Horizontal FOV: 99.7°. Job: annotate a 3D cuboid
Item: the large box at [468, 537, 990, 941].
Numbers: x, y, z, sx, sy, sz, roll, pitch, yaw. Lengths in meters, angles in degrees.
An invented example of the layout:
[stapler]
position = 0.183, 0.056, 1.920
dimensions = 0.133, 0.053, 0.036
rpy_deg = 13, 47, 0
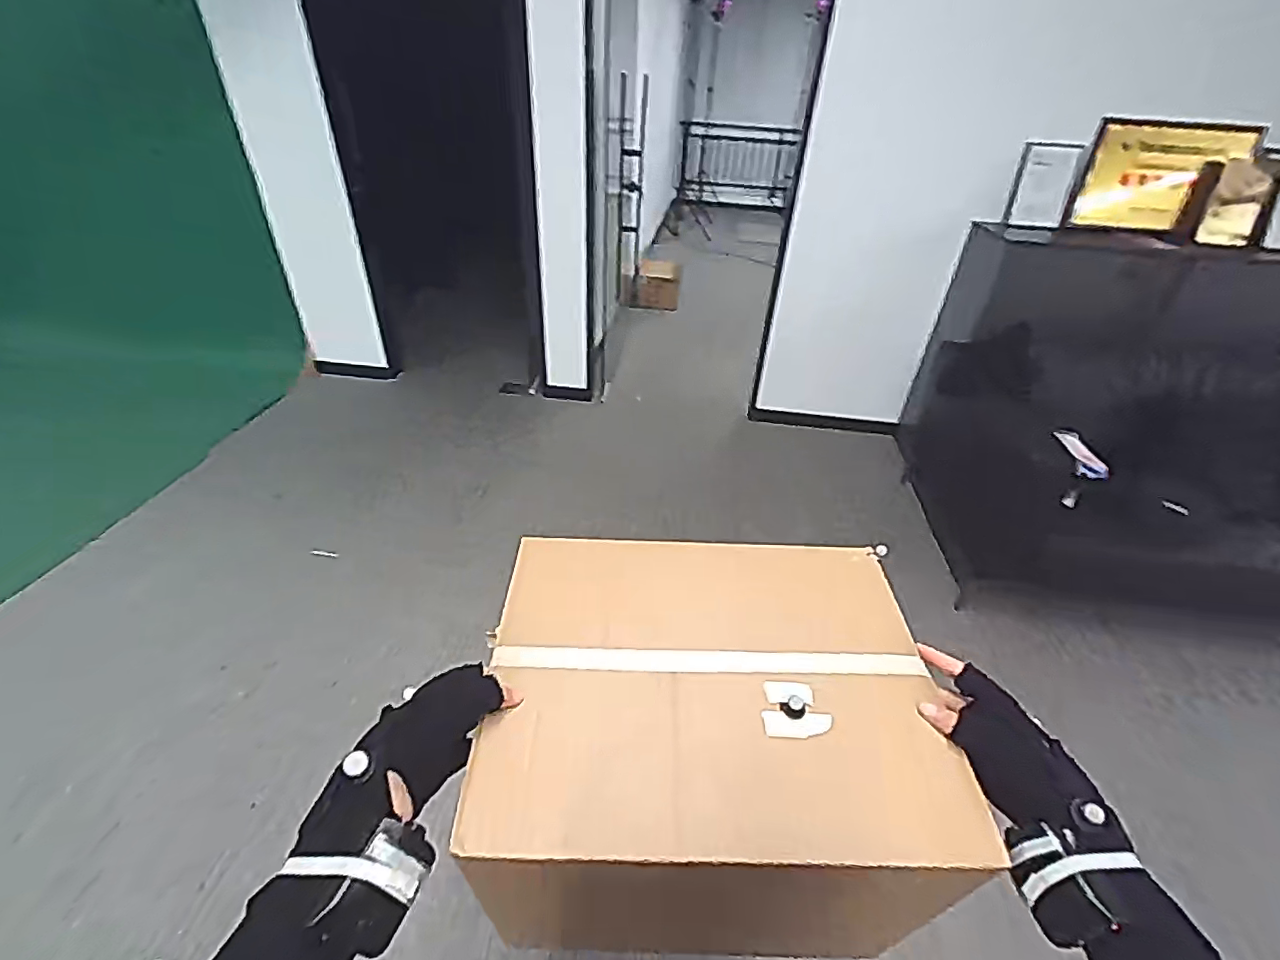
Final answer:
[large box]
position = 0.059, 0.283, 0.607
dimensions = 0.408, 0.320, 0.320
rpy_deg = 2, 40, -2
